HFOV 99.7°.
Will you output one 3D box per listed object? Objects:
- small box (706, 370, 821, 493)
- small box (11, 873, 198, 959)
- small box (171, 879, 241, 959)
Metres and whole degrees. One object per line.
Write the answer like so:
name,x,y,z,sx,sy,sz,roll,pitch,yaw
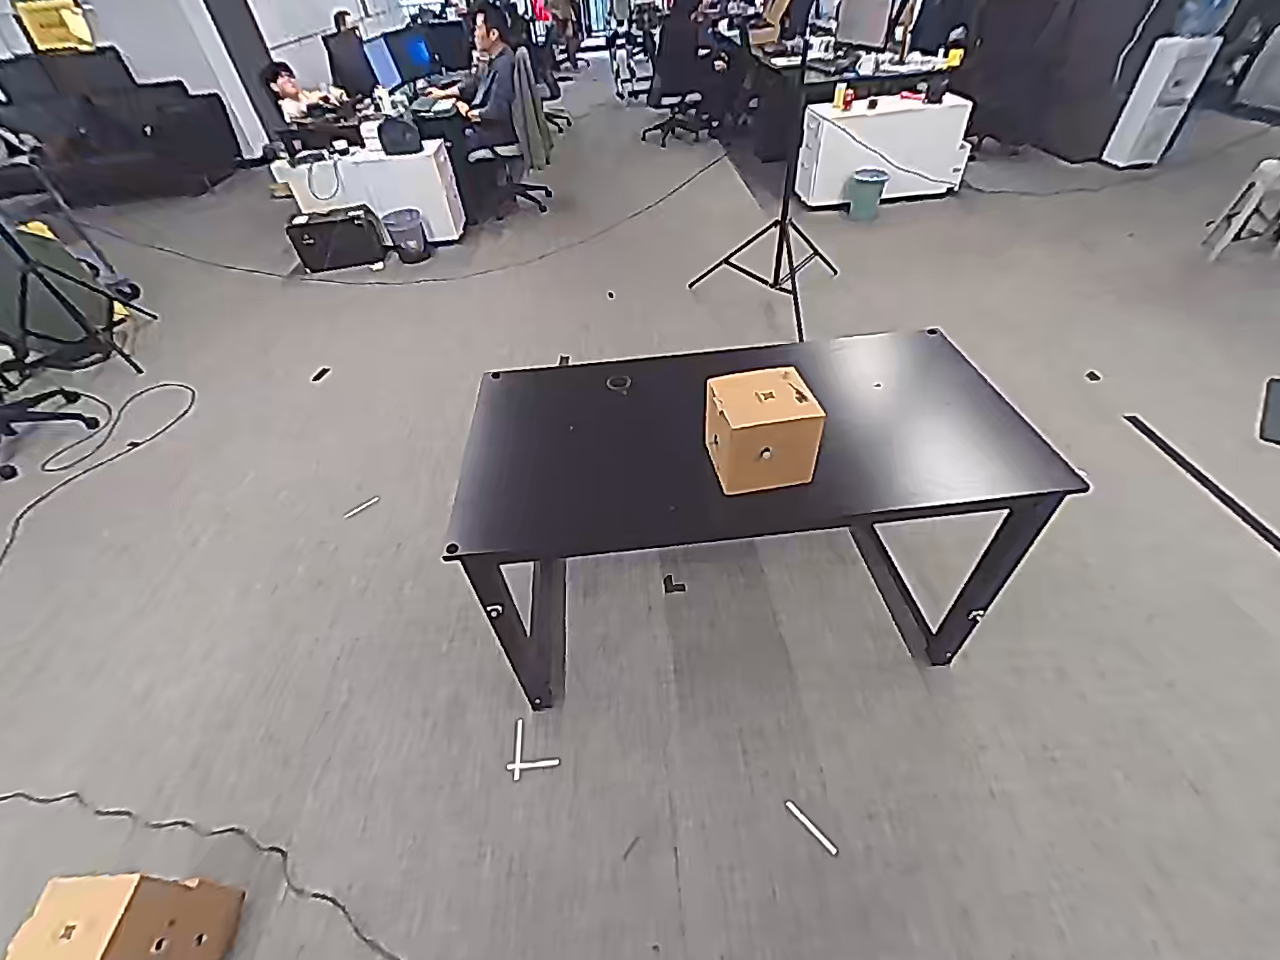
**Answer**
small box,0.234,-0.092,1.065,0.179,0.176,0.168,-9,44,-3
small box,-1.004,0.858,1.018,0.179,0.176,0.168,-4,47,0
small box,-0.990,0.968,1.137,0.168,0.176,0.179,-6,46,-1
